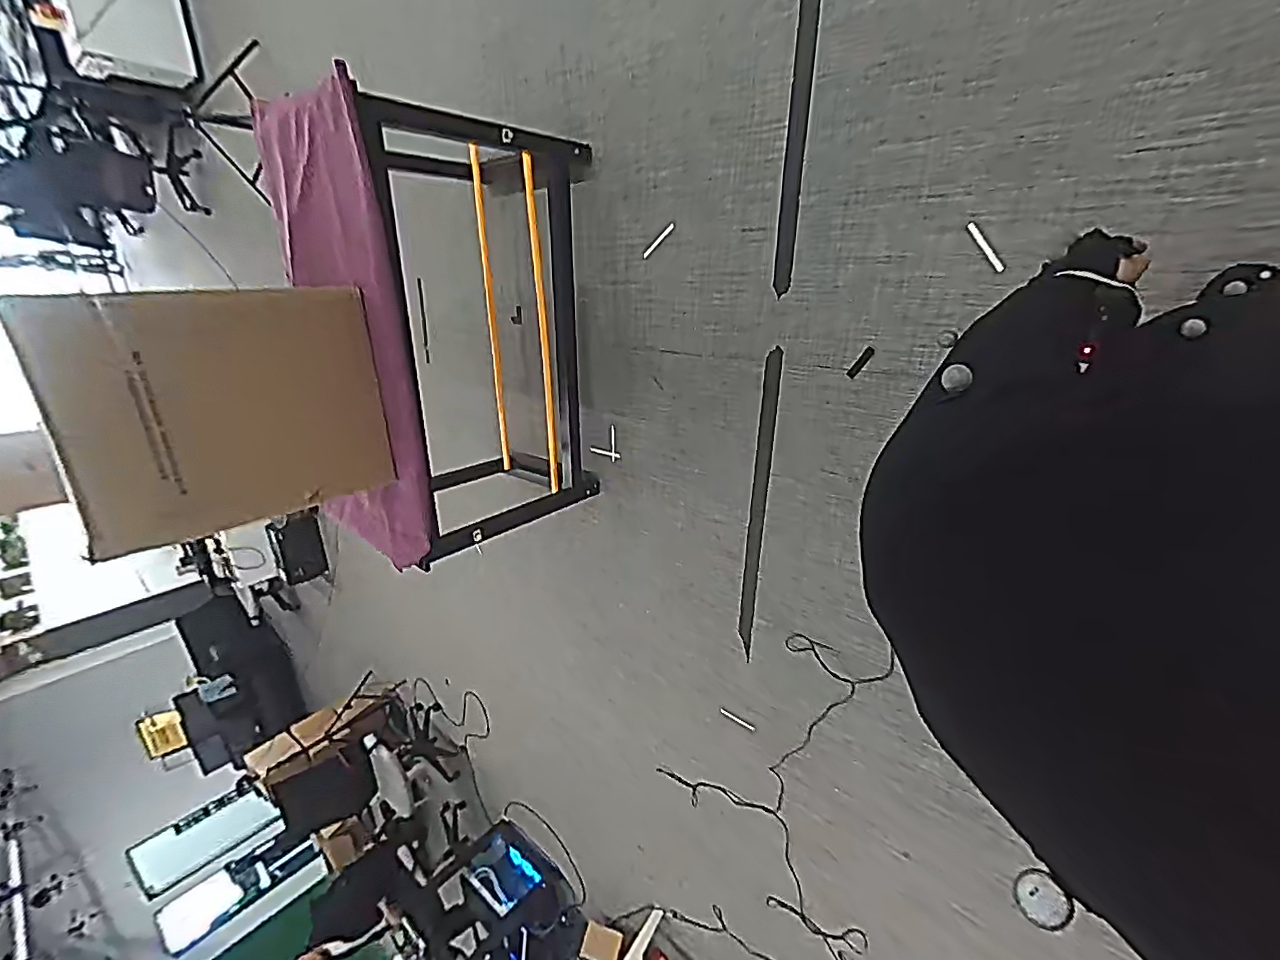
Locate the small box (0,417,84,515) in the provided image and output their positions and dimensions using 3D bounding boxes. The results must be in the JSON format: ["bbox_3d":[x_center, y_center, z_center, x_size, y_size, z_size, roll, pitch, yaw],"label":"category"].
[{"bbox_3d":[-1.360,-0.030,1.176,0.168,0.176,0.179,16,115,39],"label":"small box"}]
